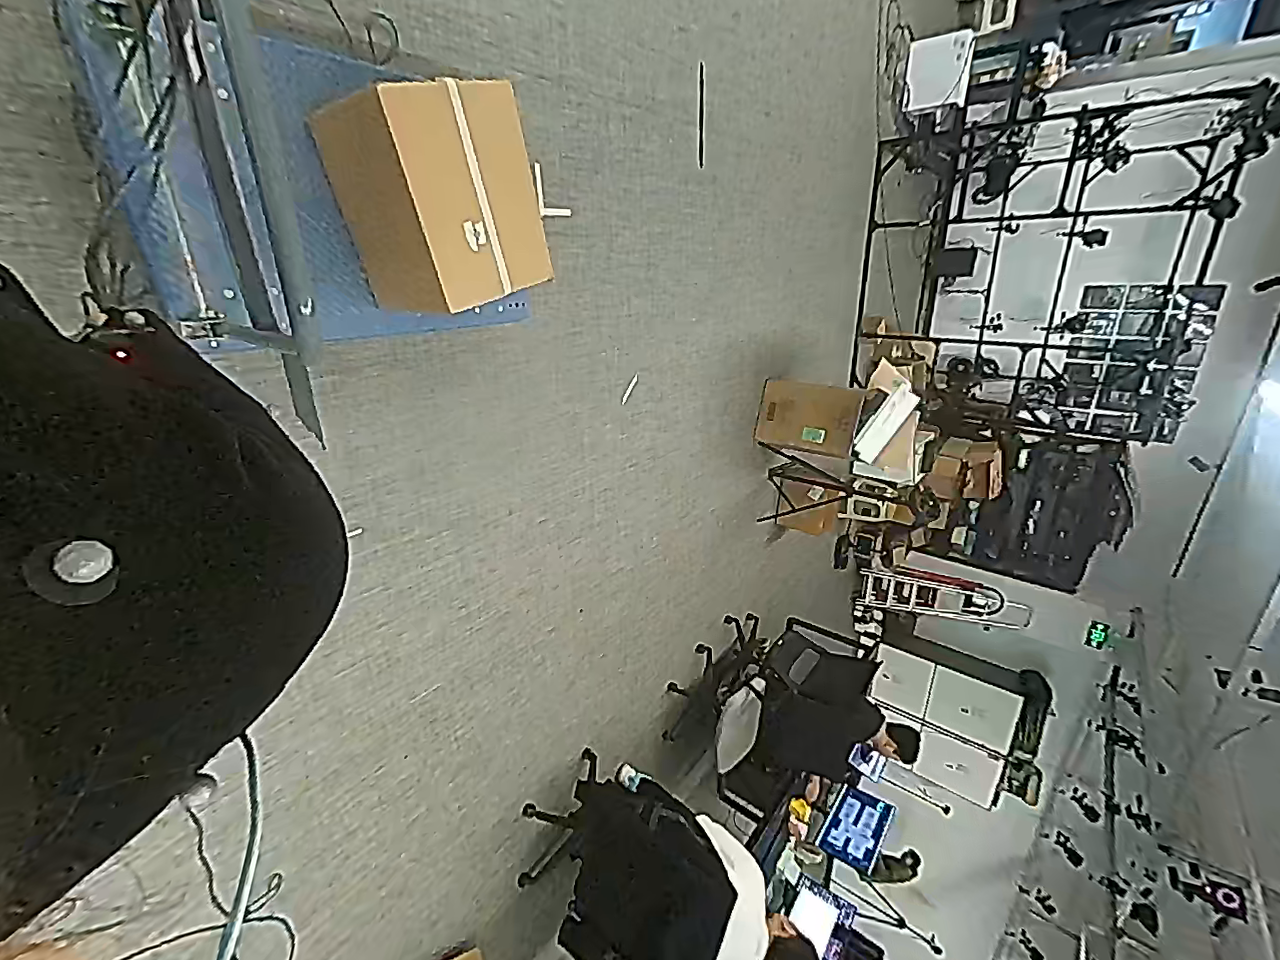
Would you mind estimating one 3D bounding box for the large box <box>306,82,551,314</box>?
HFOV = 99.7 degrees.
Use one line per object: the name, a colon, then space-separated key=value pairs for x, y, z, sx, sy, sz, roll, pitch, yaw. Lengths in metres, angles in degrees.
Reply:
large box: x=-0.457 y=-0.622 z=1.220 sx=0.320 sy=0.320 sz=0.408 roll=-38 pitch=131 yaw=-38
